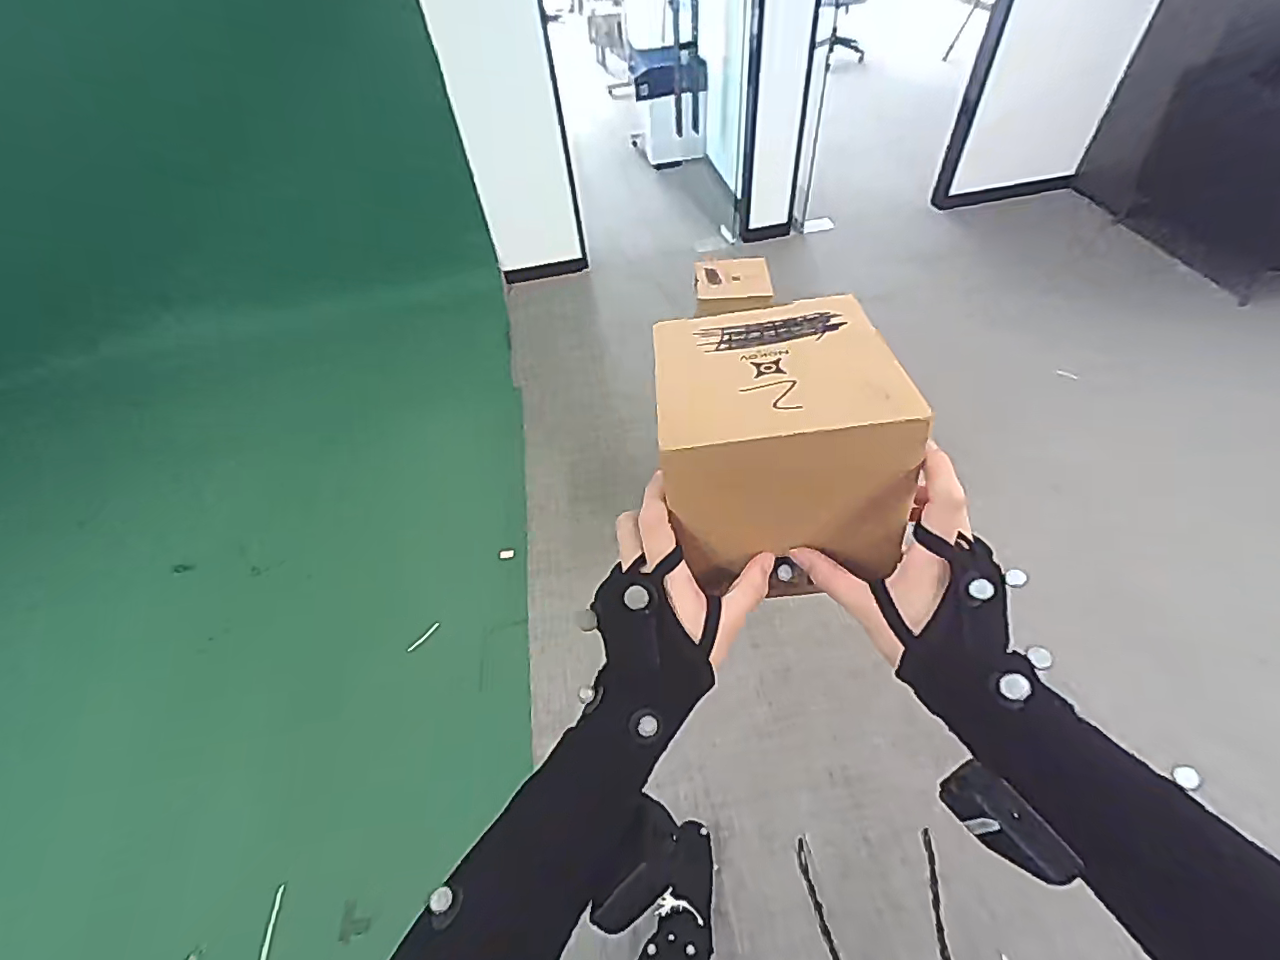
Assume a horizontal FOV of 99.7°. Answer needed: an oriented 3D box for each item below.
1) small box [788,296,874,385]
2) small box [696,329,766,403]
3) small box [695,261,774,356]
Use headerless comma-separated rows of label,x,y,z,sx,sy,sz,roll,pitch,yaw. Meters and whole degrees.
small box,0.517,-0.377,1.486,0.168,0.176,0.179,-6,50,0
small box,0.244,-0.322,1.475,0.168,0.176,0.179,-4,50,2
small box,0.227,-0.423,1.345,0.179,0.176,0.168,-2,51,4
